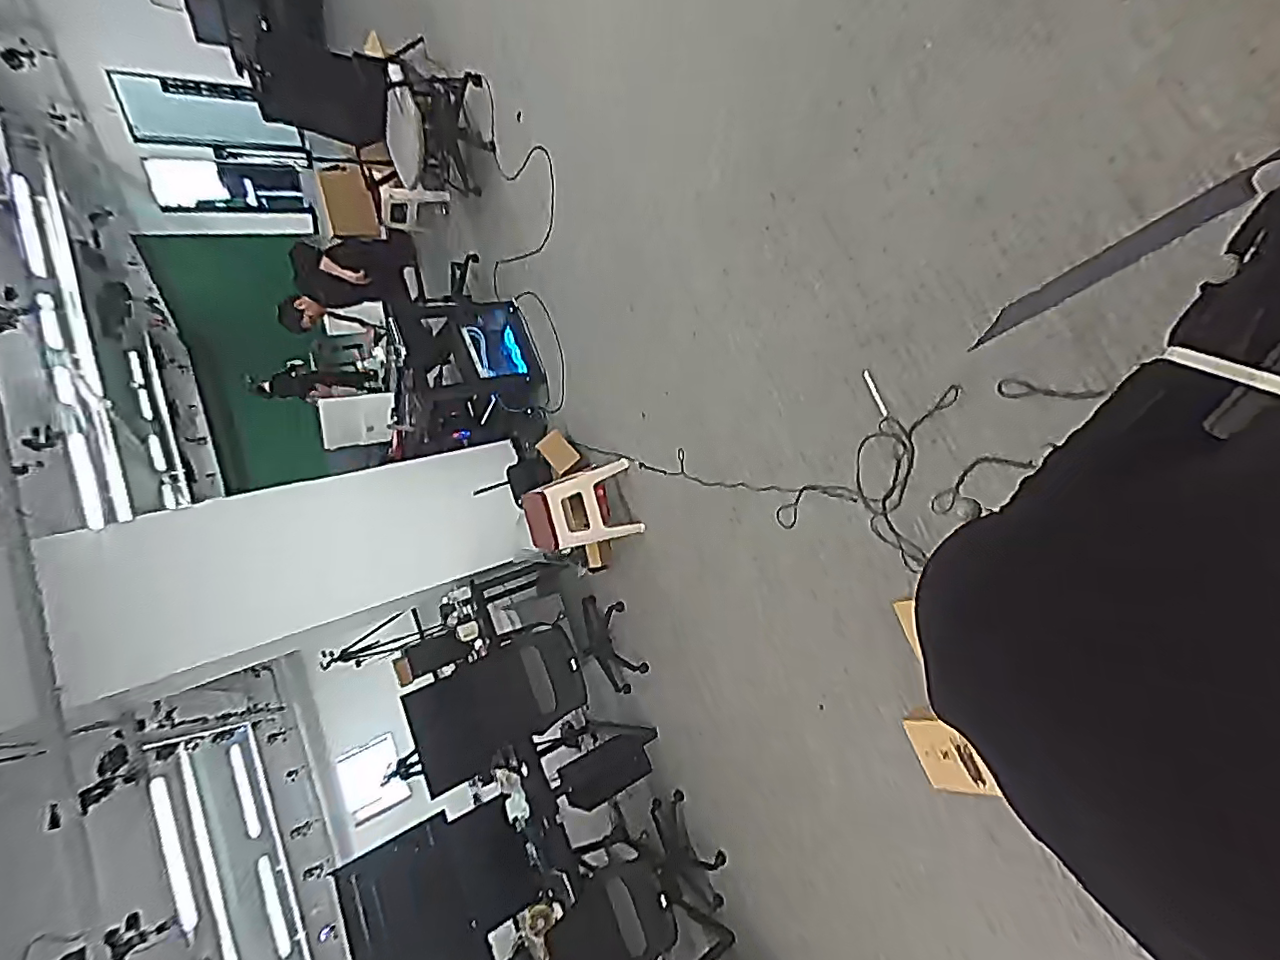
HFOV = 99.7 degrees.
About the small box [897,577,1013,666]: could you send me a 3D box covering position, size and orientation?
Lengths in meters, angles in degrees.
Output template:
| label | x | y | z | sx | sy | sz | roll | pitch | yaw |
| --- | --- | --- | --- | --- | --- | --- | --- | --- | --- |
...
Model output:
| label | x | y | z | sx | sy | sz | roll | pitch | yaw |
| --- | --- | --- | --- | --- | --- | --- | --- | --- | --- |
| small box | 0.812 | 0.362 | 1.396 | 0.168 | 0.176 | 0.179 | -34 | 76 | 58 |
